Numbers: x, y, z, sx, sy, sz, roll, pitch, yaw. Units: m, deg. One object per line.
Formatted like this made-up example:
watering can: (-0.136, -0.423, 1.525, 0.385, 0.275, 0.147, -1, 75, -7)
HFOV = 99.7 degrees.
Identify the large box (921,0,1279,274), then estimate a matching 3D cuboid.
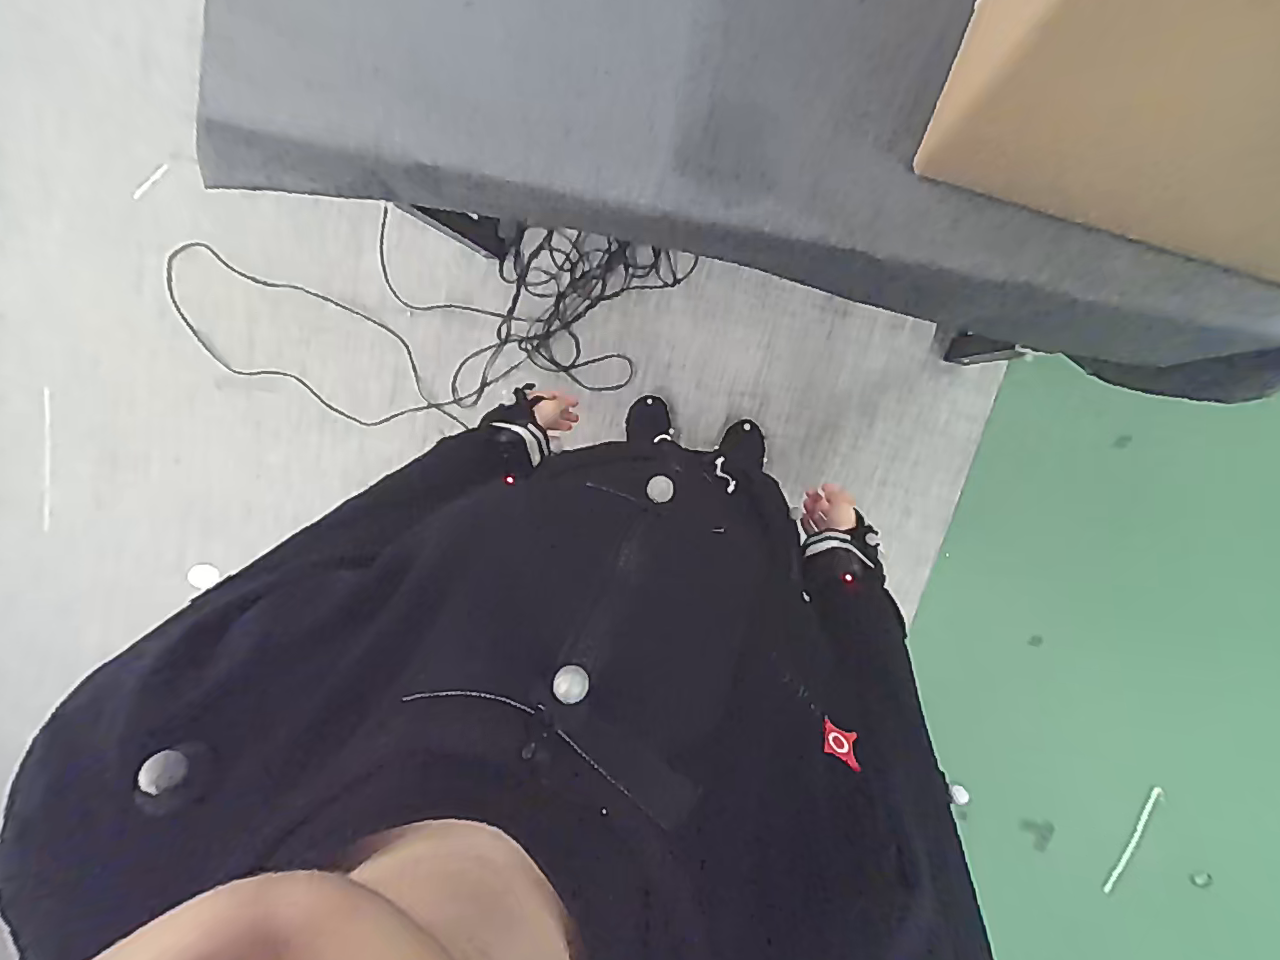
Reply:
large box: (0.485, -0.363, 0.349, 0.408, 0.320, 0.320, 20, 101, 4)
